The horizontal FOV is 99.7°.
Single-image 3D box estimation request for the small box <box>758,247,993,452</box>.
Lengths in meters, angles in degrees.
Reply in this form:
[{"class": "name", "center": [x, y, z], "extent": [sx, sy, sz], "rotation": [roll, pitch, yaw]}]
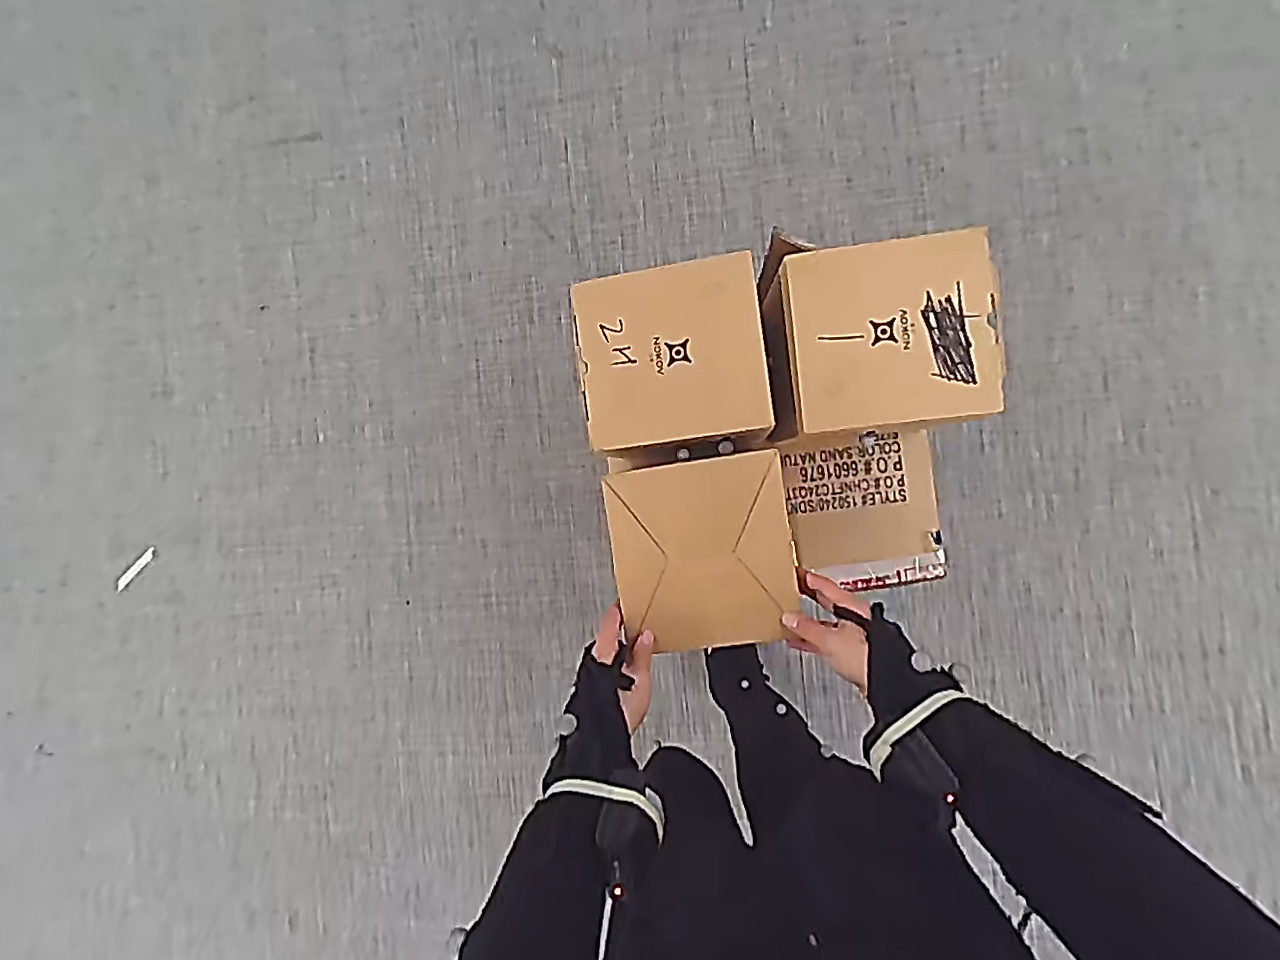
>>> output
[{"class": "small box", "center": [0.230, -0.121, 0.570], "extent": [0.179, 0.176, 0.168], "rotation": [-6, 89, 6]}]
